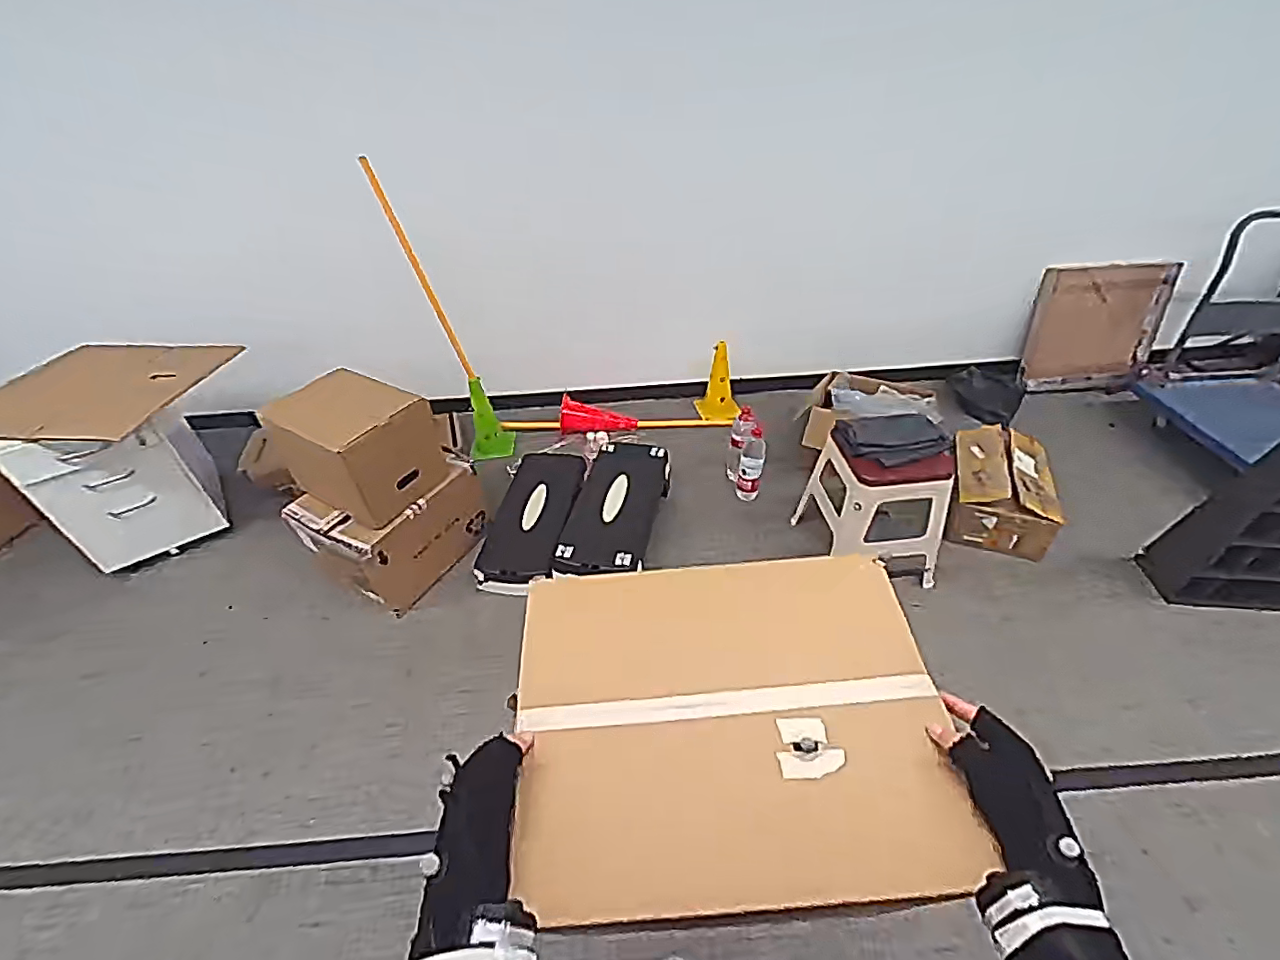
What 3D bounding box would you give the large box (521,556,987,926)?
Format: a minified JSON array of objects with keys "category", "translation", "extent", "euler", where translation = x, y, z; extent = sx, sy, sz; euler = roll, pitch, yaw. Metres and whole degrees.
[{"category":"large box","translation":[0.092,0.320,0.658],"extent":[0.408,0.320,0.320],"euler":[-5,50,0]}]
